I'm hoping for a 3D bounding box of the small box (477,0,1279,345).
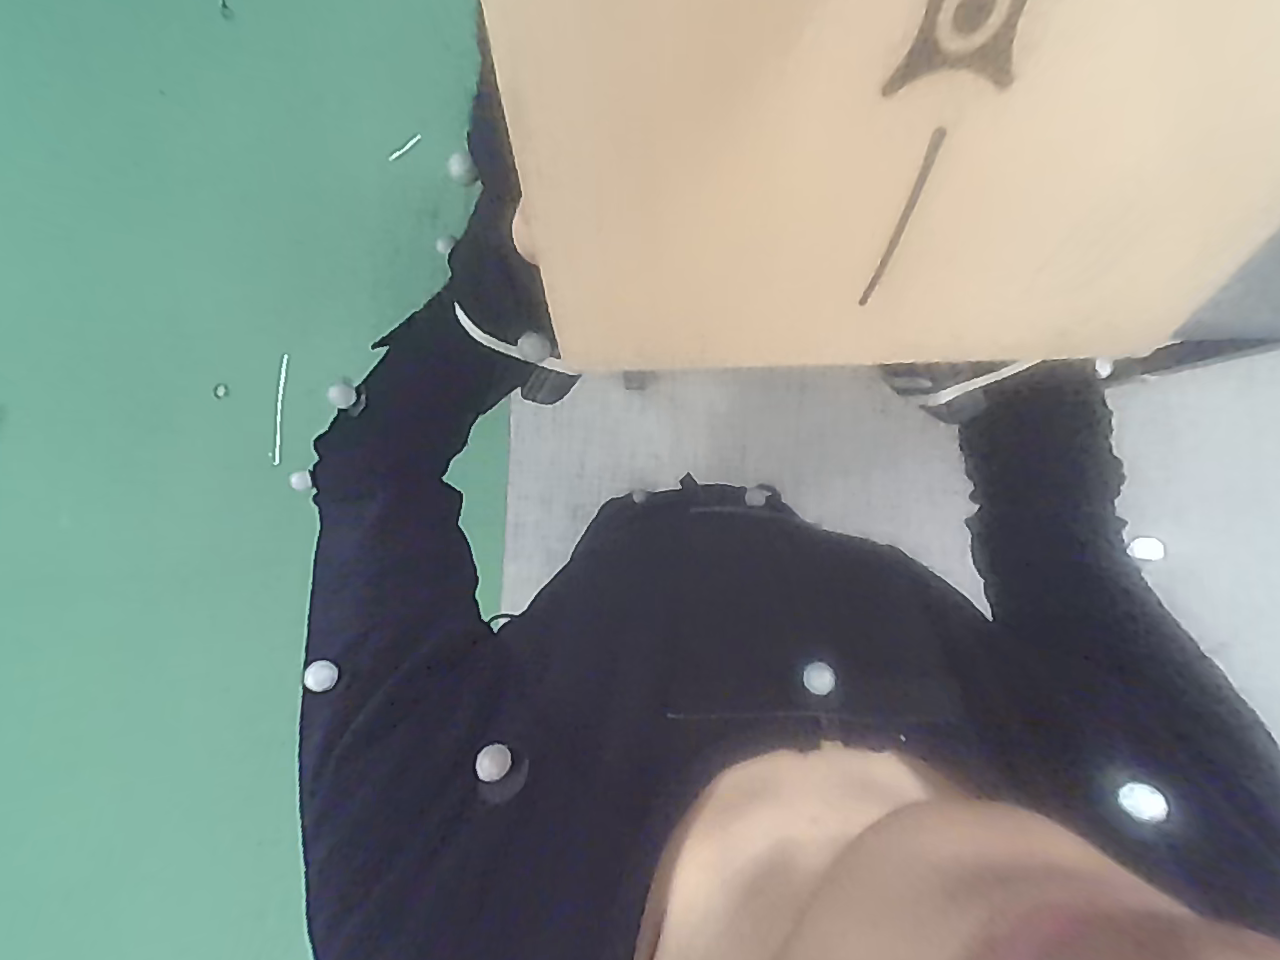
[{"bbox_3d":[0.052,-0.156,0.127,0.168,0.179,0.176,-1,55,2],"label":"small box"}]
